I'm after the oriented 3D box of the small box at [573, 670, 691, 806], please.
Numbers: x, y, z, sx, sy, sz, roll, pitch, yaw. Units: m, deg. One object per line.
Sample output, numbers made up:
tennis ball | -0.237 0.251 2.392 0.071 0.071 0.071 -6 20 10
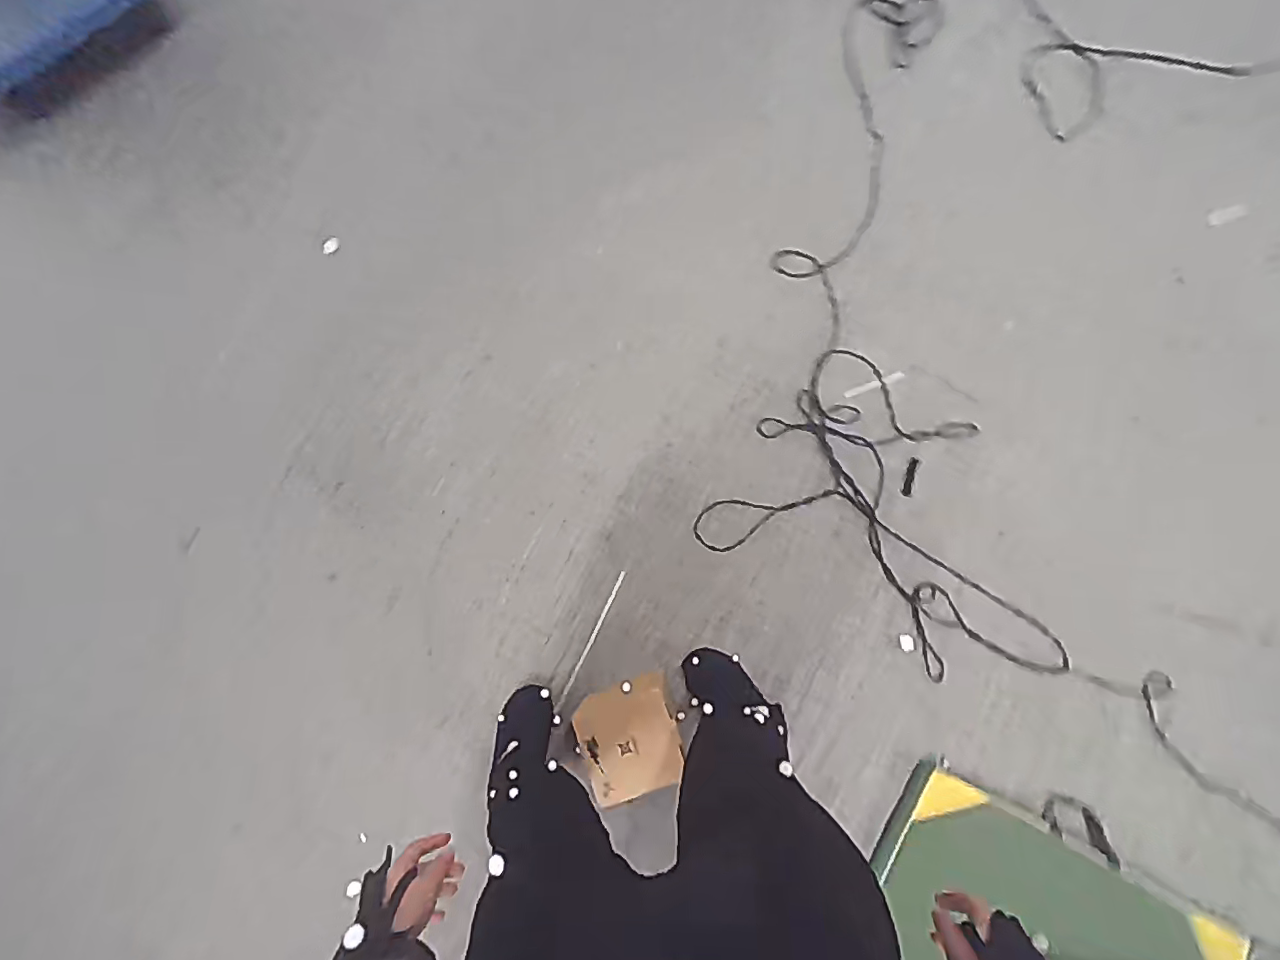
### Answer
small box | -0.012 0.485 1.046 0.179 0.176 0.168 -20 80 0
